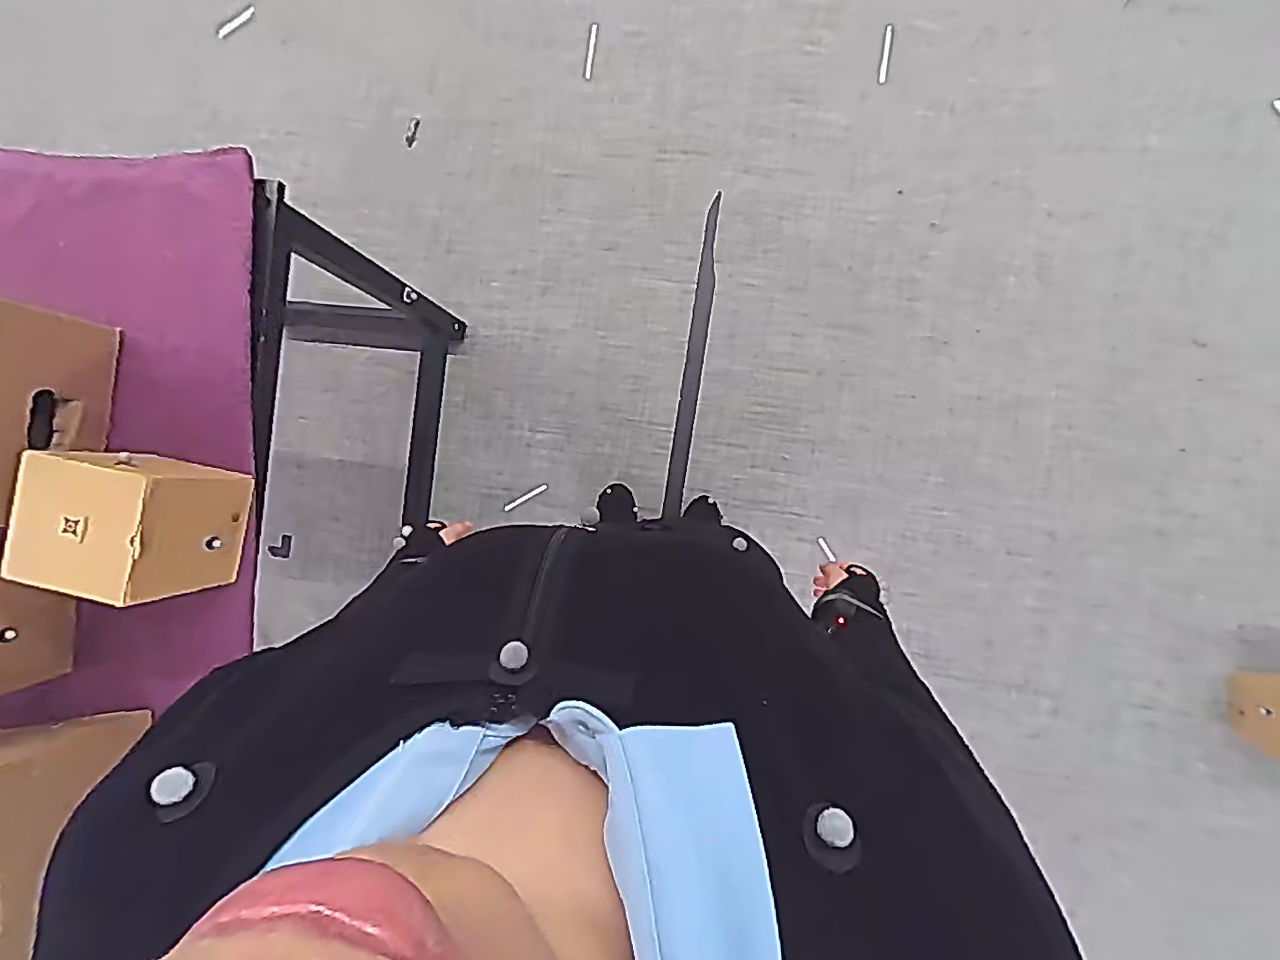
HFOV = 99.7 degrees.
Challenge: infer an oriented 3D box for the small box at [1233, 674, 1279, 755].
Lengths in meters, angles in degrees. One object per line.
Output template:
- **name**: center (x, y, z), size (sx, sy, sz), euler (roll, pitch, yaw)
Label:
- **small box**: center (1.579, 0.571, 1.281), size (0.179, 0.176, 0.168), euler (4, 90, 4)
